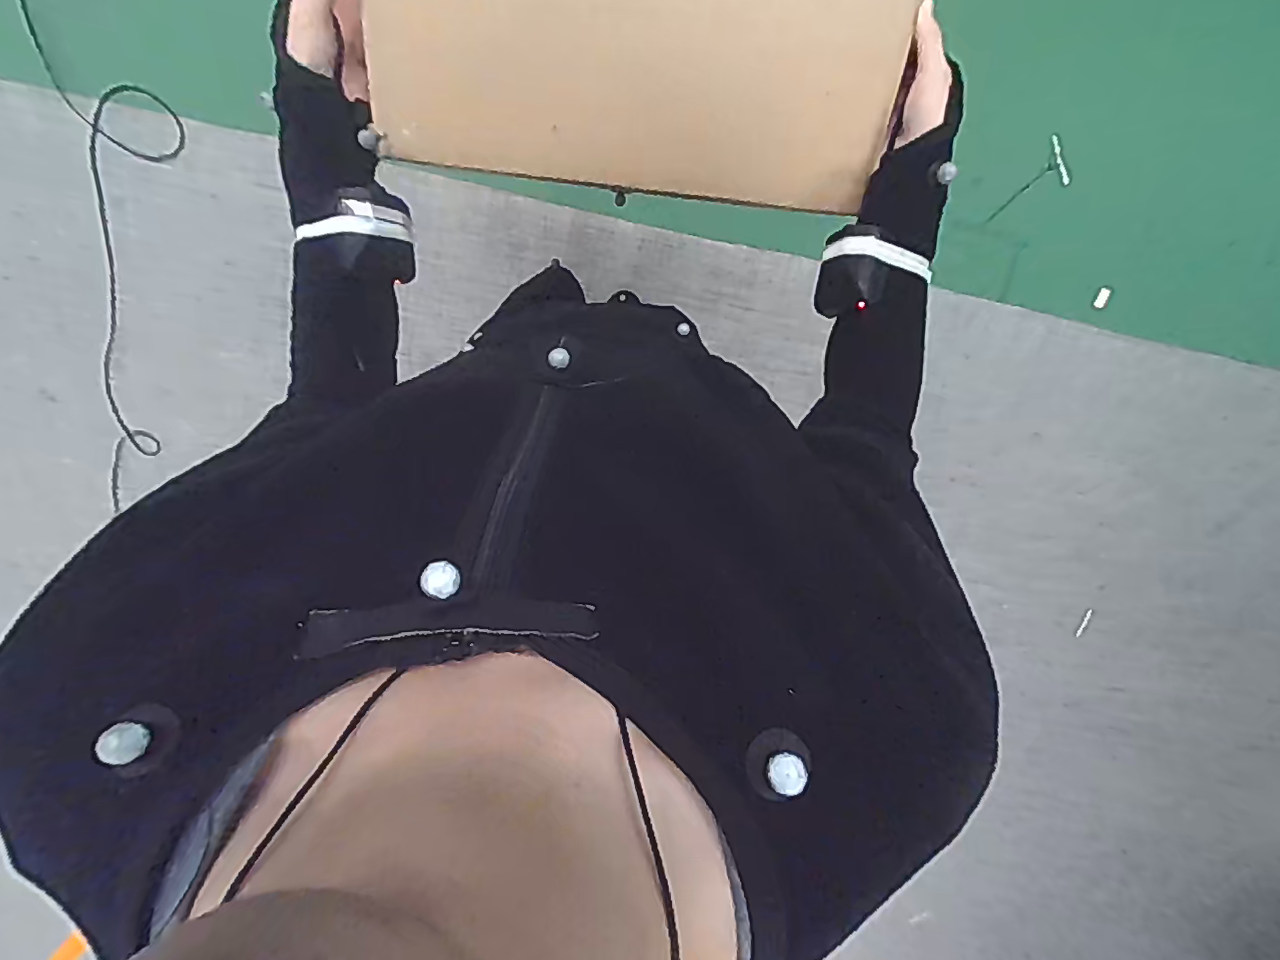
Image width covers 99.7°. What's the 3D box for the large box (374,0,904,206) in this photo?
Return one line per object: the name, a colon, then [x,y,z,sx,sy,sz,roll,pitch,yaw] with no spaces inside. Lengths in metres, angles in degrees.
large box: [-0.001,-0.459,0.516,0.408,0.320,0.320,3,118,-7]
